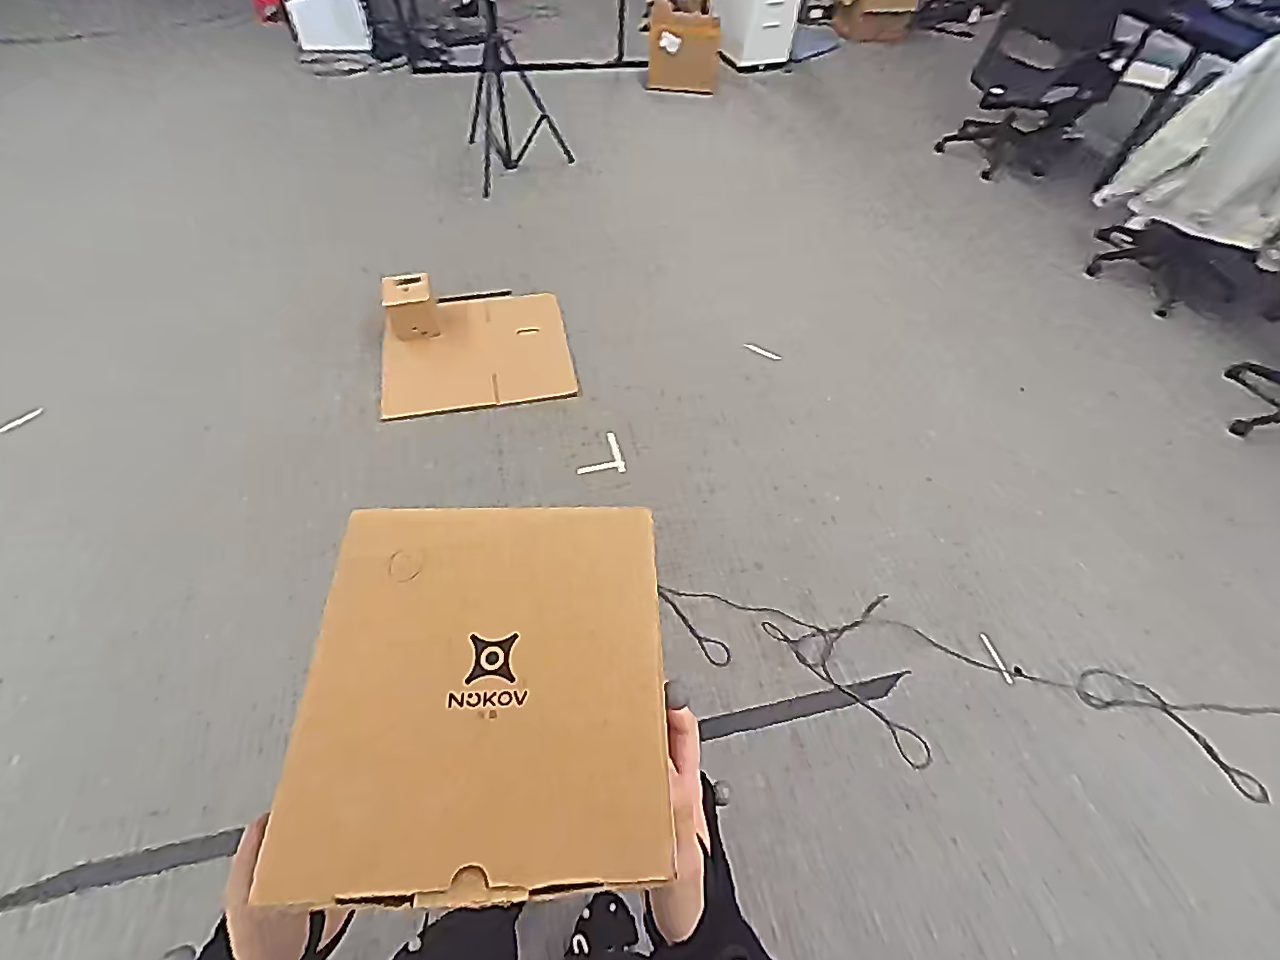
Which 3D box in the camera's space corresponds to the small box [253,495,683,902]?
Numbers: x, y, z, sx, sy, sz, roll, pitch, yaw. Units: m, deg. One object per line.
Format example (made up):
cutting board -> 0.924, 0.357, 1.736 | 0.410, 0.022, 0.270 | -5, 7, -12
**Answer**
small box -> -0.075, 0.125, 0.319 | 0.168, 0.176, 0.179 | -1, 59, -6
